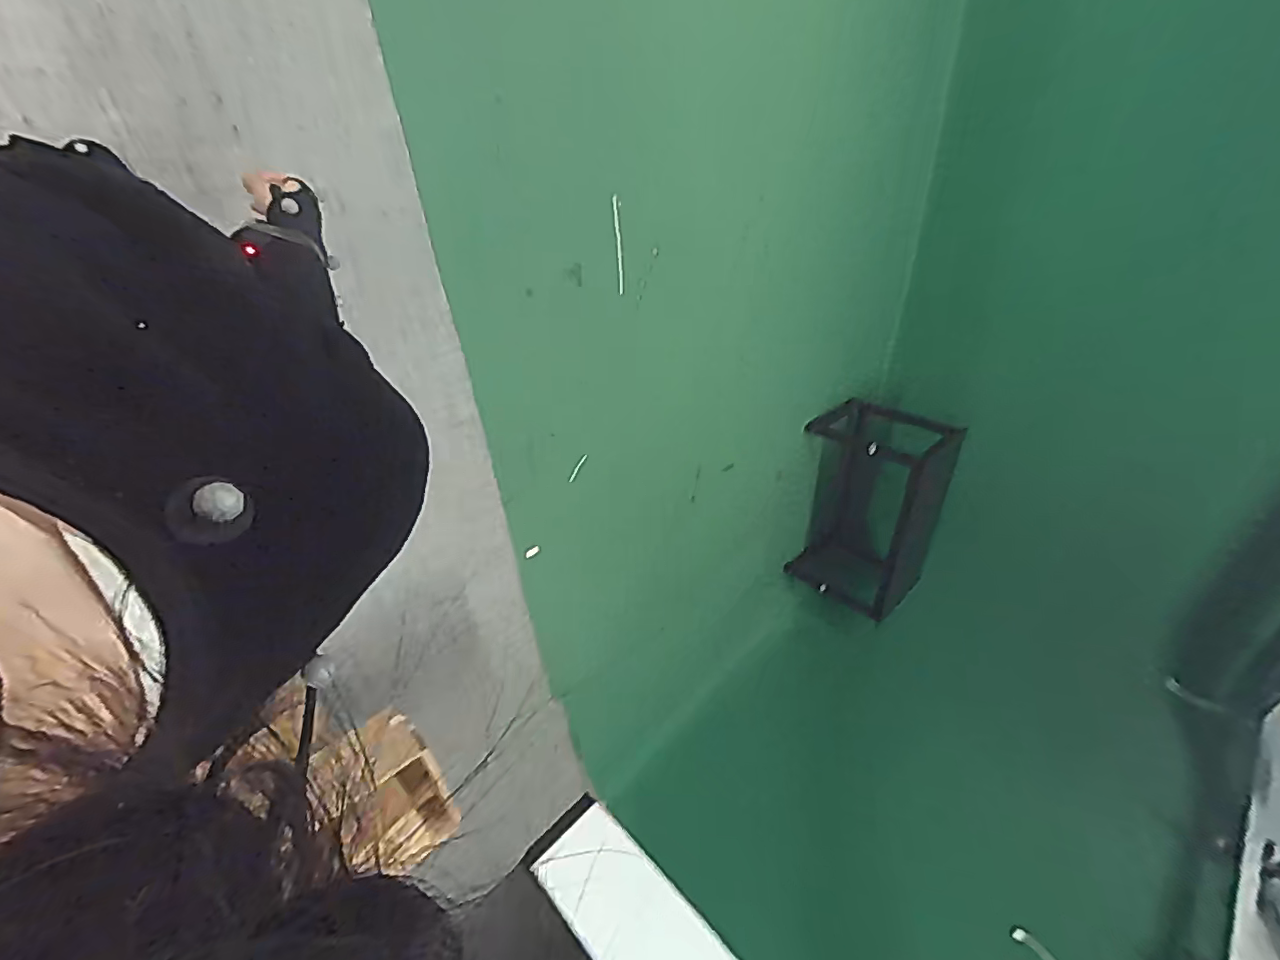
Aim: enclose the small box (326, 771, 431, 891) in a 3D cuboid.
[{"bbox_3d":[-0.678,0.904,1.406,0.168,0.176,0.179,-33,132,-32],"label":"small box"}]
